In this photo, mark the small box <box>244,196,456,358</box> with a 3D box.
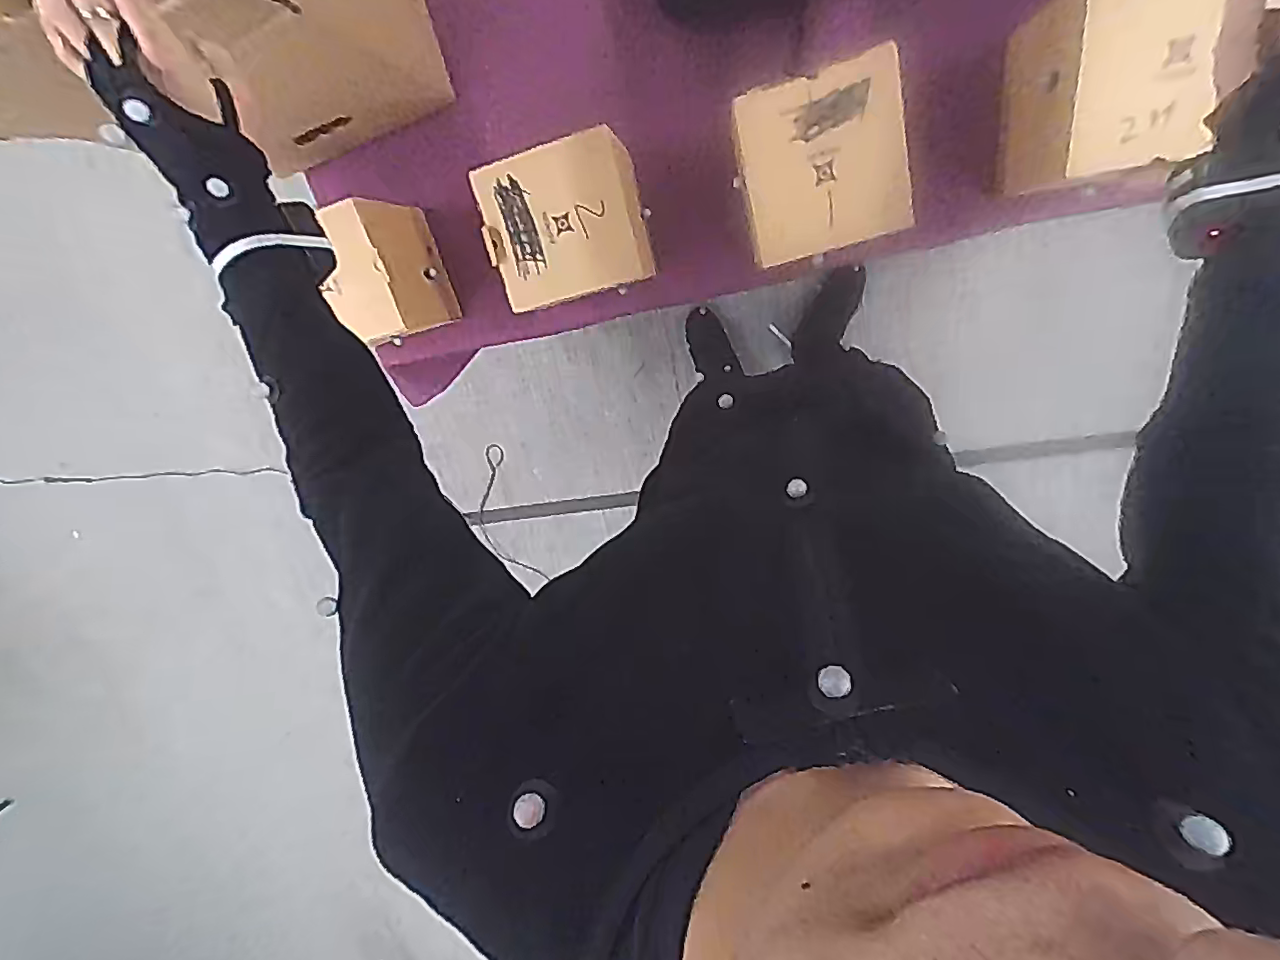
[{"bbox_3d":[-0.403,-0.287,0.782,0.179,0.176,0.168,-13,109,13],"label":"small box"}]

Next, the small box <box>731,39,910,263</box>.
[{"bbox_3d":[0.205,-0.371,0.649,0.168,0.176,0.179,-11,110,14],"label":"small box"}]

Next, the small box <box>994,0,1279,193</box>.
[{"bbox_3d":[0.507,-0.424,0.577,0.168,0.176,0.179,-3,111,12],"label":"small box"}]
